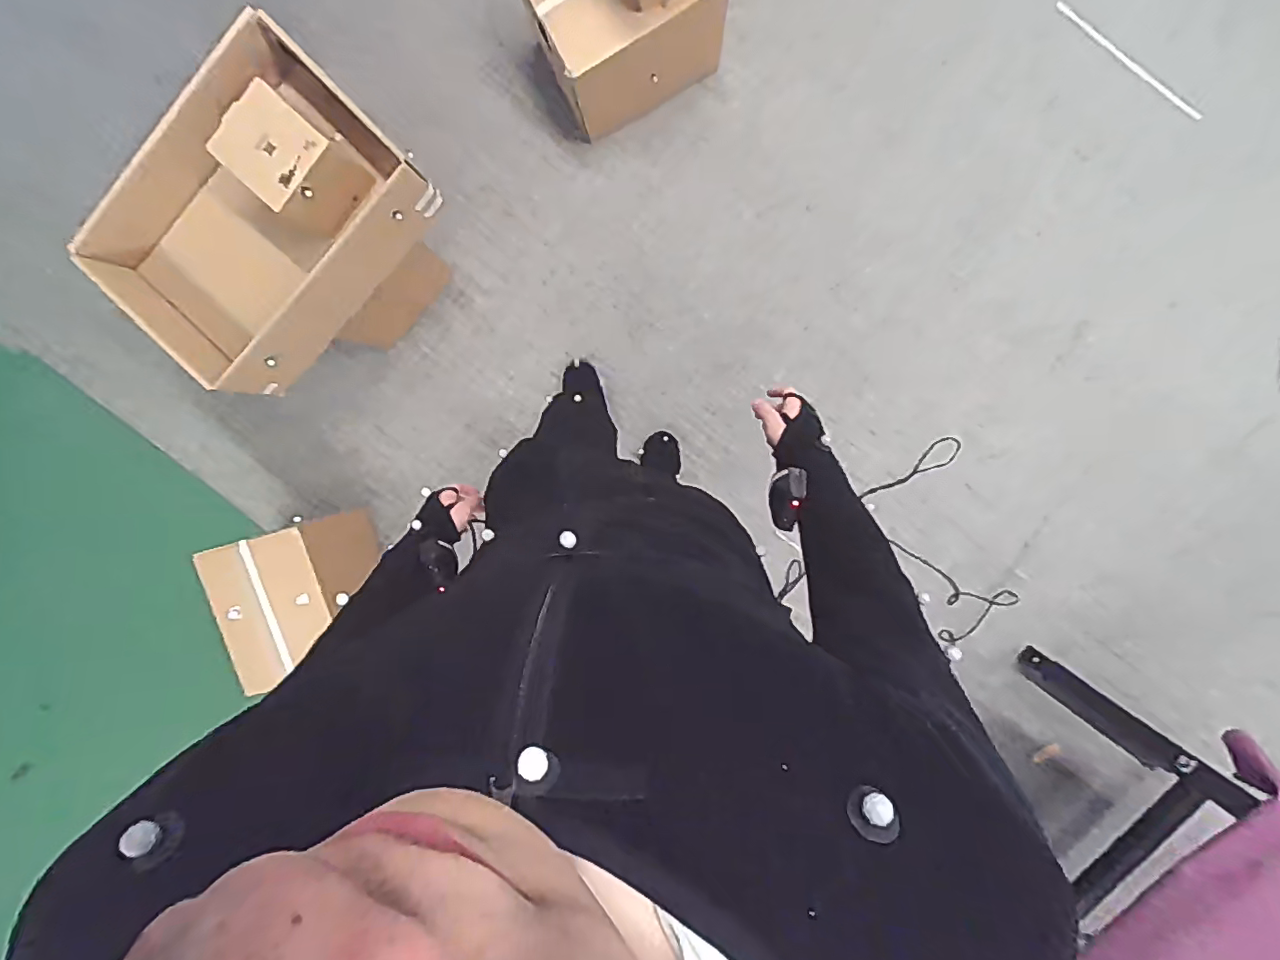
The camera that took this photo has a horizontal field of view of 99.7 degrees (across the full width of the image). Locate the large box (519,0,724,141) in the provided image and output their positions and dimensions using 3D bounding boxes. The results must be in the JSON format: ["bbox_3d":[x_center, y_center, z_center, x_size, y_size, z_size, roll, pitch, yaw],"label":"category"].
[{"bbox_3d":[-0.047,-1.136,1.314,0.408,0.320,0.320,-28,95,7],"label":"large box"}]
